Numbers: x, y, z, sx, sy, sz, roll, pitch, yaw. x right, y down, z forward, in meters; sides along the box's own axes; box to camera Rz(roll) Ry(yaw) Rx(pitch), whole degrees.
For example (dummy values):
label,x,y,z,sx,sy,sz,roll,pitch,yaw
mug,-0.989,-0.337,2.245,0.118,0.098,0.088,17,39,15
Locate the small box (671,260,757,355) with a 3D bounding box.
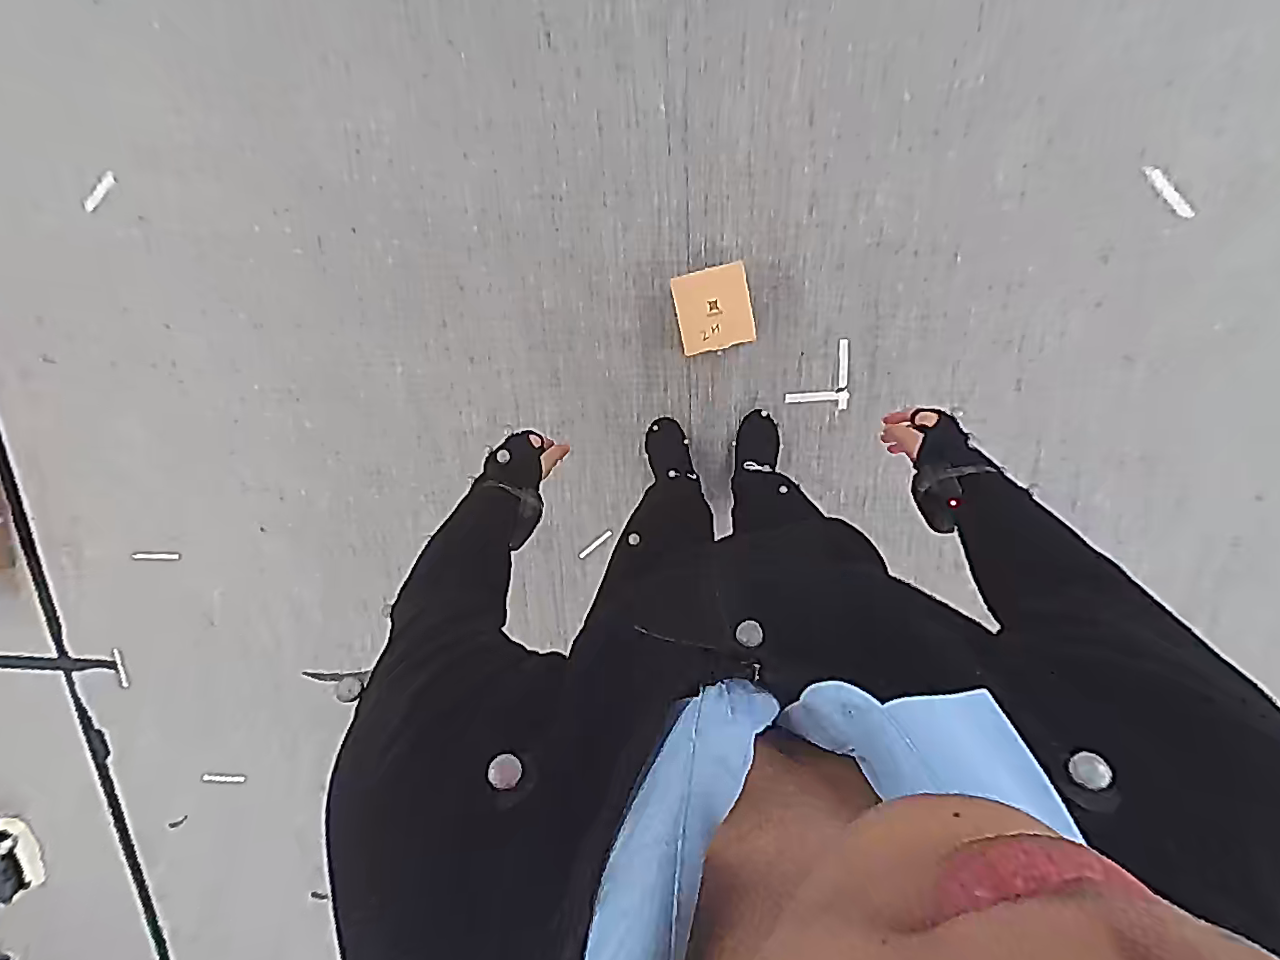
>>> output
label,x,y,z,sx,sy,sz,roll,pitch,yaw
small box,0.170,-0.398,1.276,0.168,0.176,0.179,-12,103,8
